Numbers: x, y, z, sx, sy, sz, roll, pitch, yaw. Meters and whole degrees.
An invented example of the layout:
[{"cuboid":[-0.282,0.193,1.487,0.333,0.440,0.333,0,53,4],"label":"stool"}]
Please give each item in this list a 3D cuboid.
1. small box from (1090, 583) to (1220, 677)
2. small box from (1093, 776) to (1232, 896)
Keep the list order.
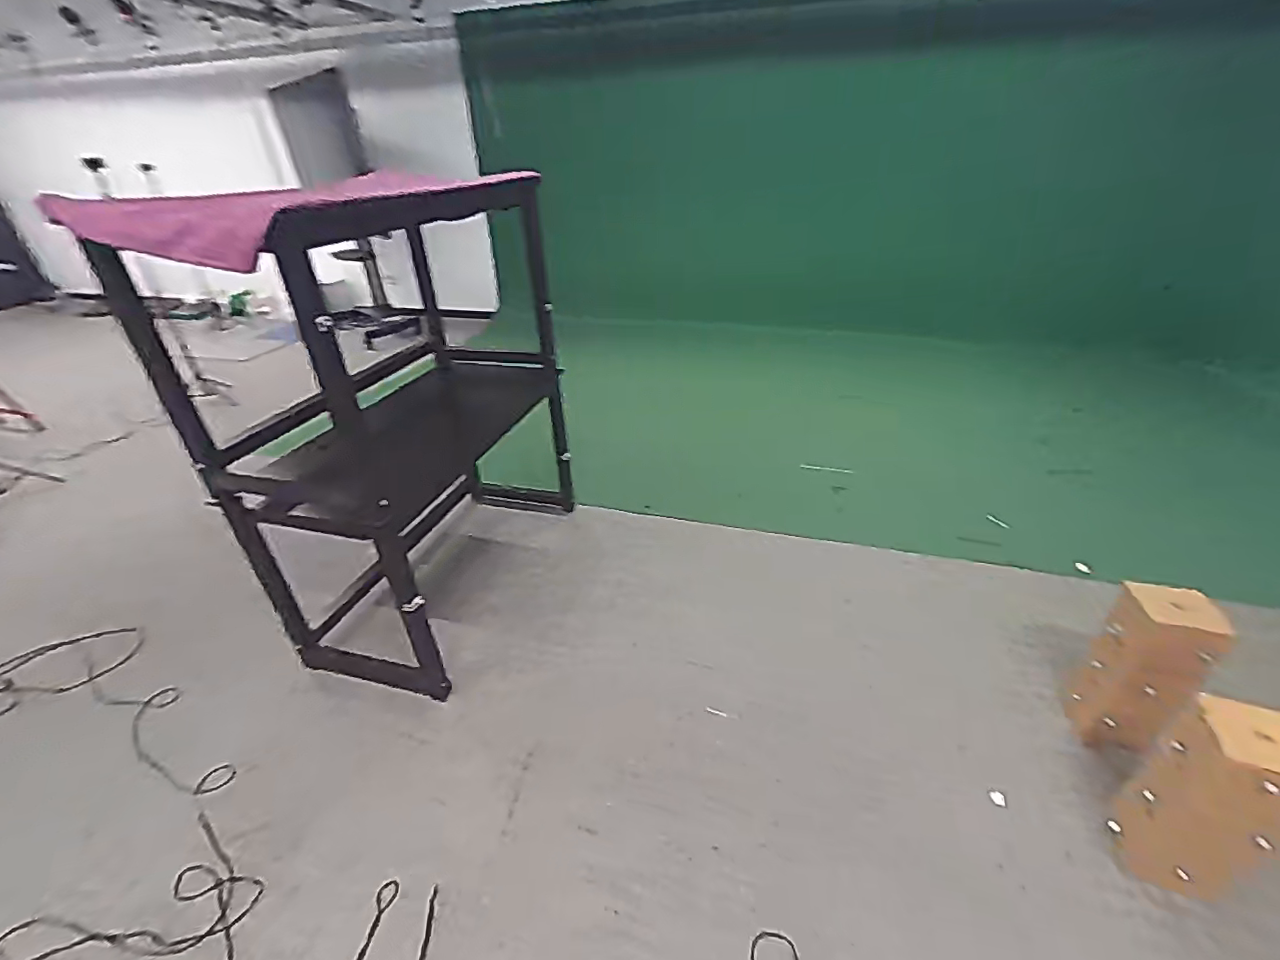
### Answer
[{"cuboid":[1.382,0.407,1.466,0.179,0.176,0.168,6,31,13],"label":"small box"},{"cuboid":[1.272,0.879,1.332,0.179,0.176,0.168,10,34,20],"label":"small box"}]
